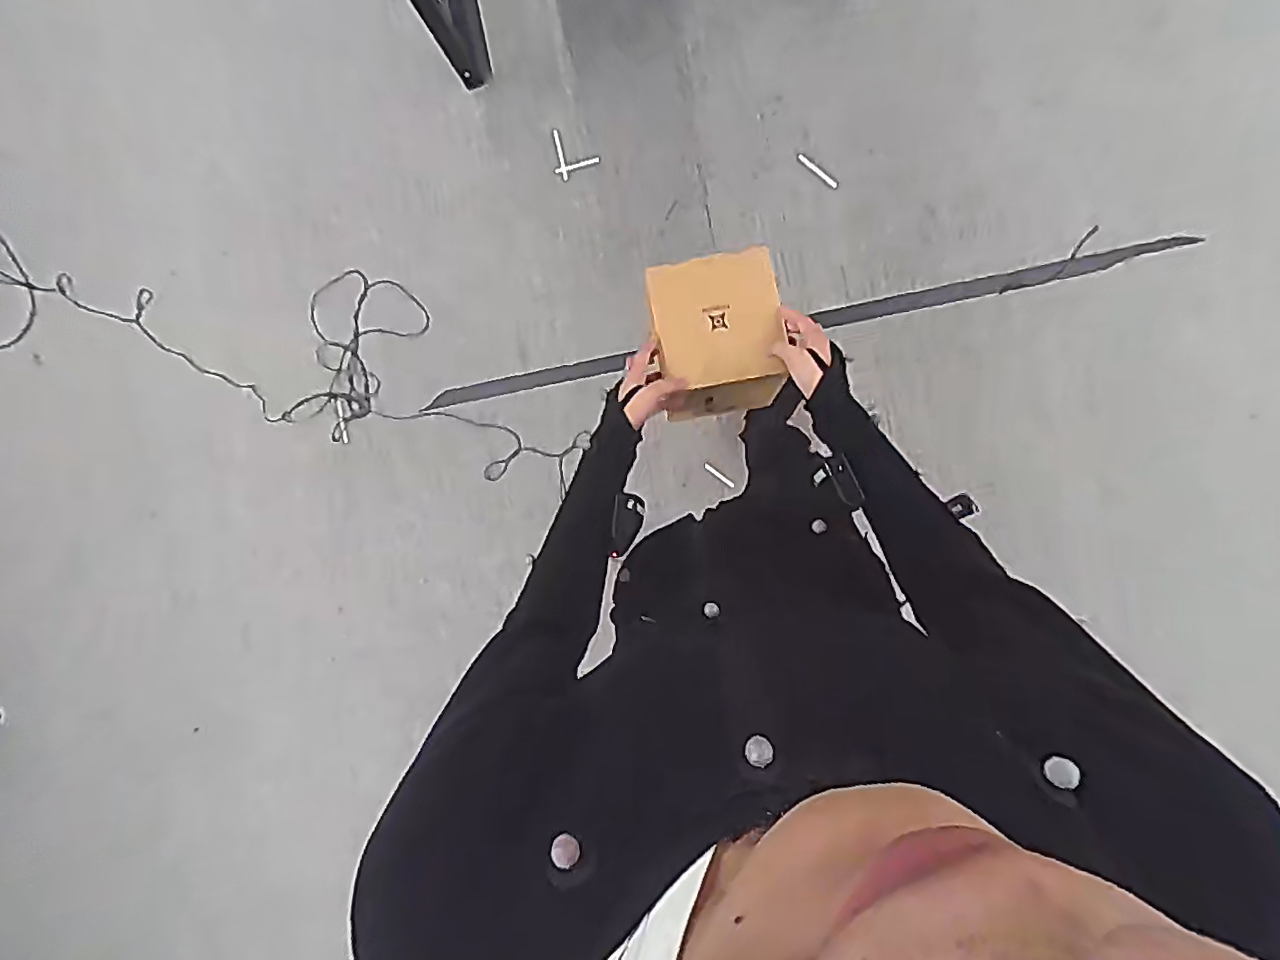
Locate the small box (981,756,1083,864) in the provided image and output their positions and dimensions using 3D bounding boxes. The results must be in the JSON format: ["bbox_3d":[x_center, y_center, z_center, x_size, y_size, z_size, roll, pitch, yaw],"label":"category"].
[{"bbox_3d":[1.043,0.871,1.436,0.168,0.176,0.179,-11,91,6],"label":"small box"}]

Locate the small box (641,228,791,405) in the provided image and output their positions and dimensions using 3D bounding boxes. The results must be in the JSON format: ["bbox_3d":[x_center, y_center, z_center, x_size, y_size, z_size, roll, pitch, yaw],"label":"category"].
[{"bbox_3d":[0.099,-0.213,0.758,0.168,0.176,0.179,-10,81,1],"label":"small box"}]
